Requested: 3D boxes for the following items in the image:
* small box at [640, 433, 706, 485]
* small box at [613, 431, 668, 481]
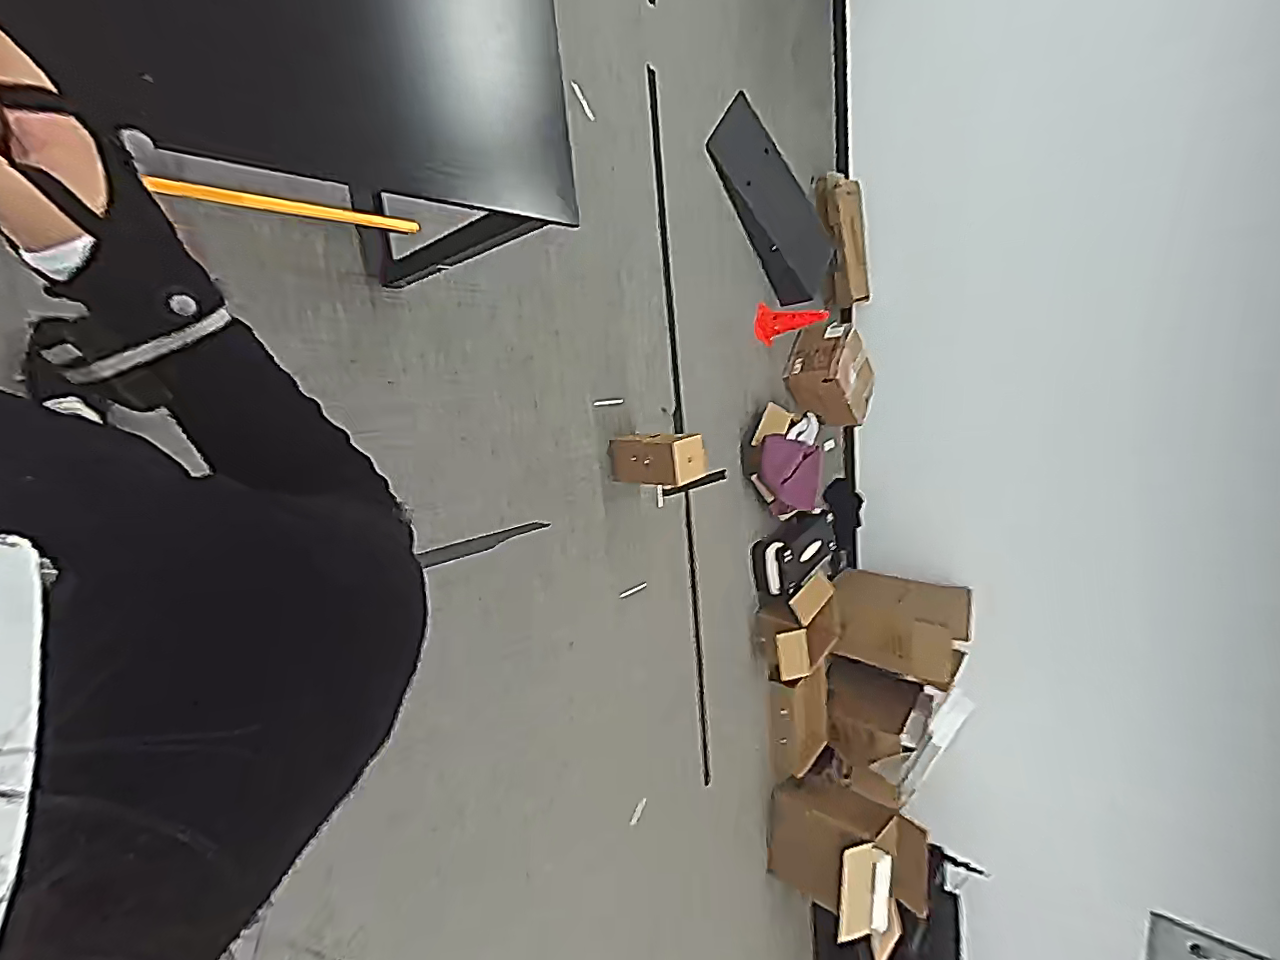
[{"bbox_3d":[0.125,-0.084,2.050,0.179,0.176,0.168,-20,106,-44],"label":"small box"},{"bbox_3d":[0.006,-0.096,2.160,0.168,0.176,0.179,-18,106,-46],"label":"small box"}]
